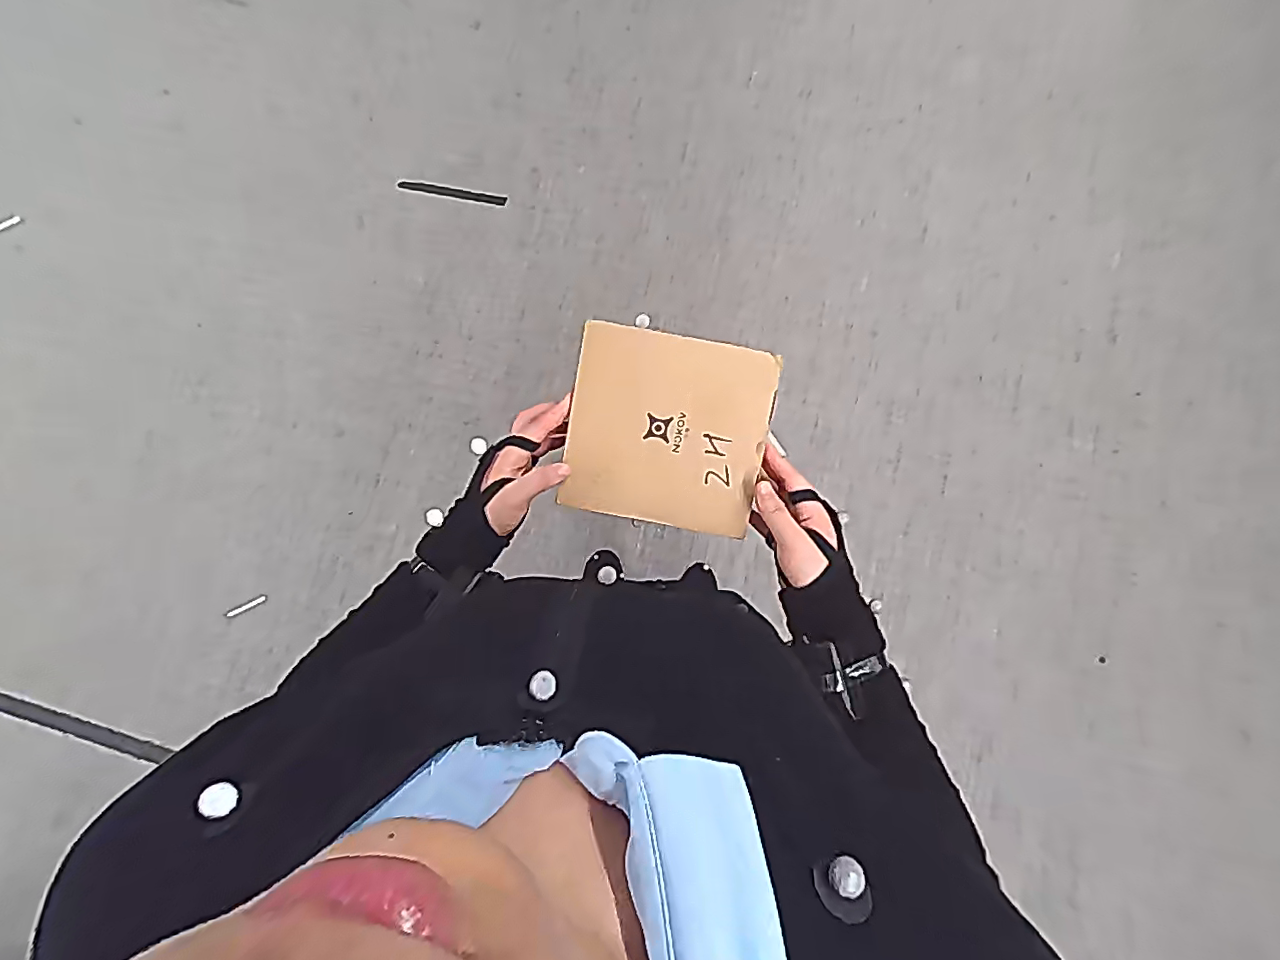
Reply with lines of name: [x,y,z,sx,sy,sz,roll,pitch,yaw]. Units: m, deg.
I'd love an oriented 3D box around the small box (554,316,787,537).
small box: [0.026,-0.055,0.545,0.179,0.176,0.168,11,99,0]
